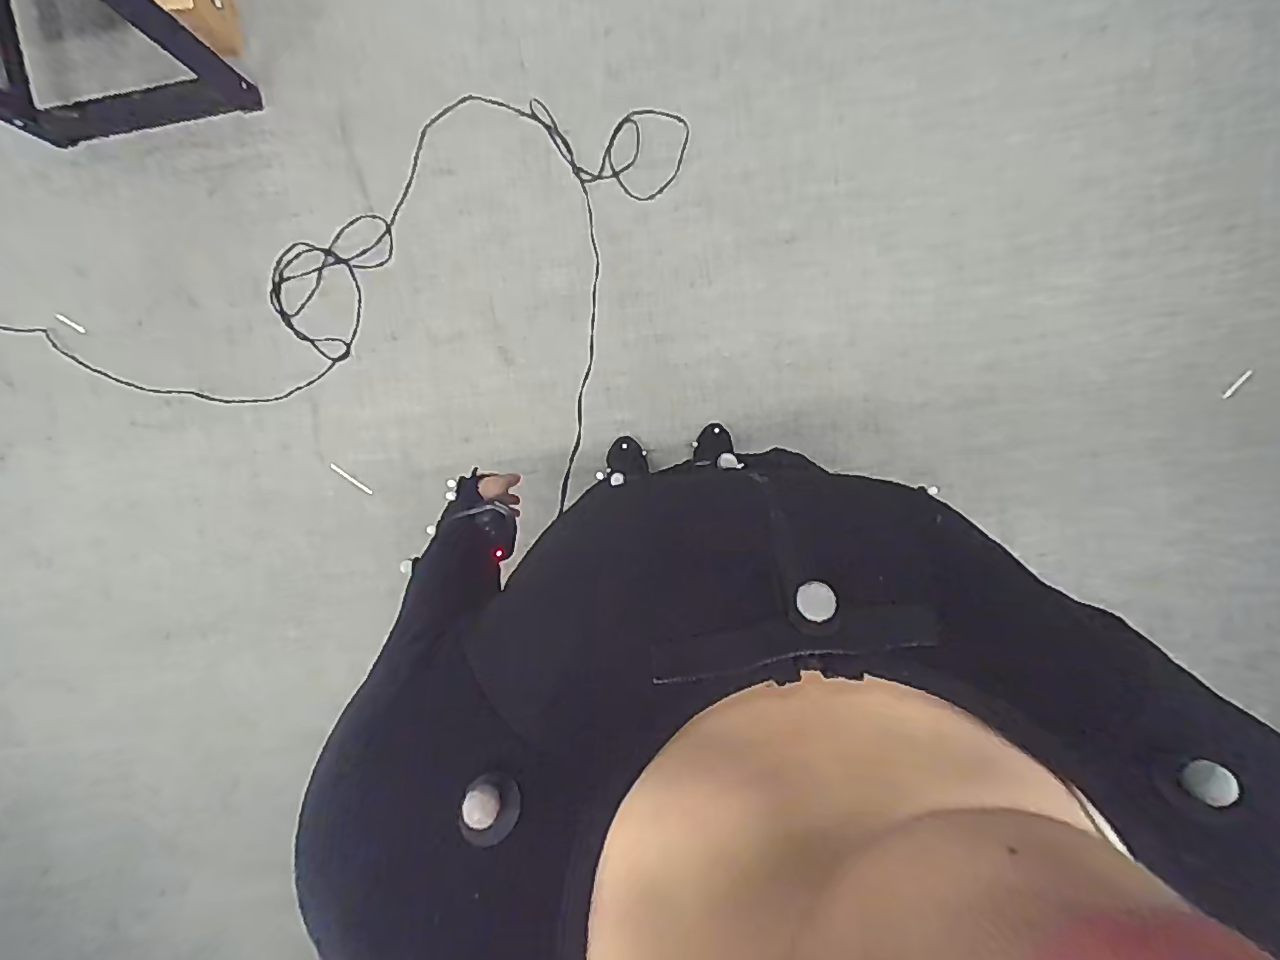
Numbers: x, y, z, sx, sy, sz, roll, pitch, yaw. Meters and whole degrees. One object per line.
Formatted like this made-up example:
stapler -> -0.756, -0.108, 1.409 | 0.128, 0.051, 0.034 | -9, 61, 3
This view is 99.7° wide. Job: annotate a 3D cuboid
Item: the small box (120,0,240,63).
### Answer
small box -> -1.126, -1.172, 1.331 | 0.179, 0.176, 0.168 | -4, 95, 2
